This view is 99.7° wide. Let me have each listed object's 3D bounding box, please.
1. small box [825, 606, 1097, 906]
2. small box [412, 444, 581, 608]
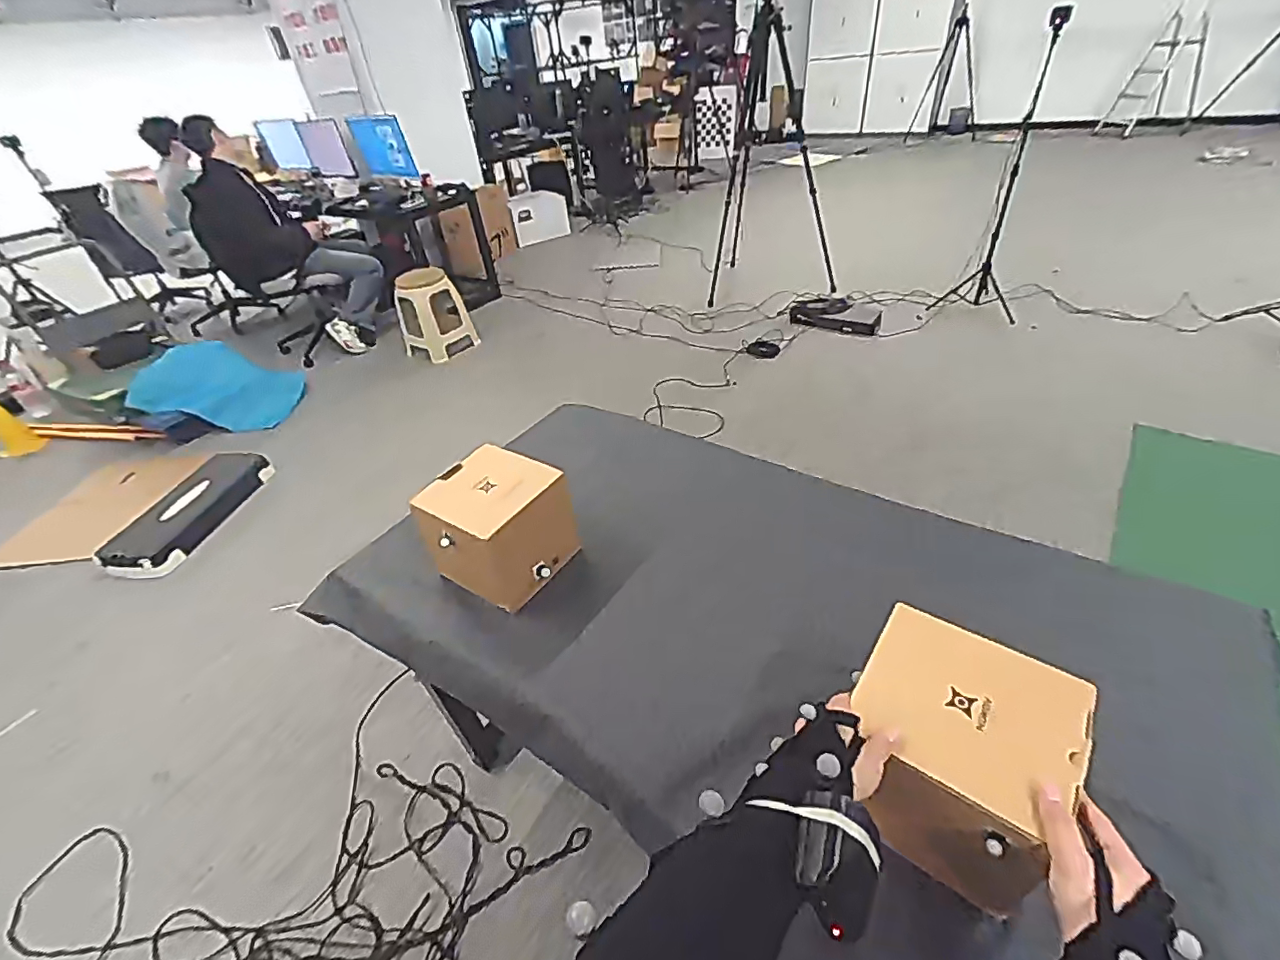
[{"bbox_3d":[0.300,0.266,0.531,0.179,0.176,0.168,23,47,32],"label":"small box"},{"bbox_3d":[-0.218,0.072,0.856,0.179,0.176,0.168,20,47,28],"label":"small box"}]
